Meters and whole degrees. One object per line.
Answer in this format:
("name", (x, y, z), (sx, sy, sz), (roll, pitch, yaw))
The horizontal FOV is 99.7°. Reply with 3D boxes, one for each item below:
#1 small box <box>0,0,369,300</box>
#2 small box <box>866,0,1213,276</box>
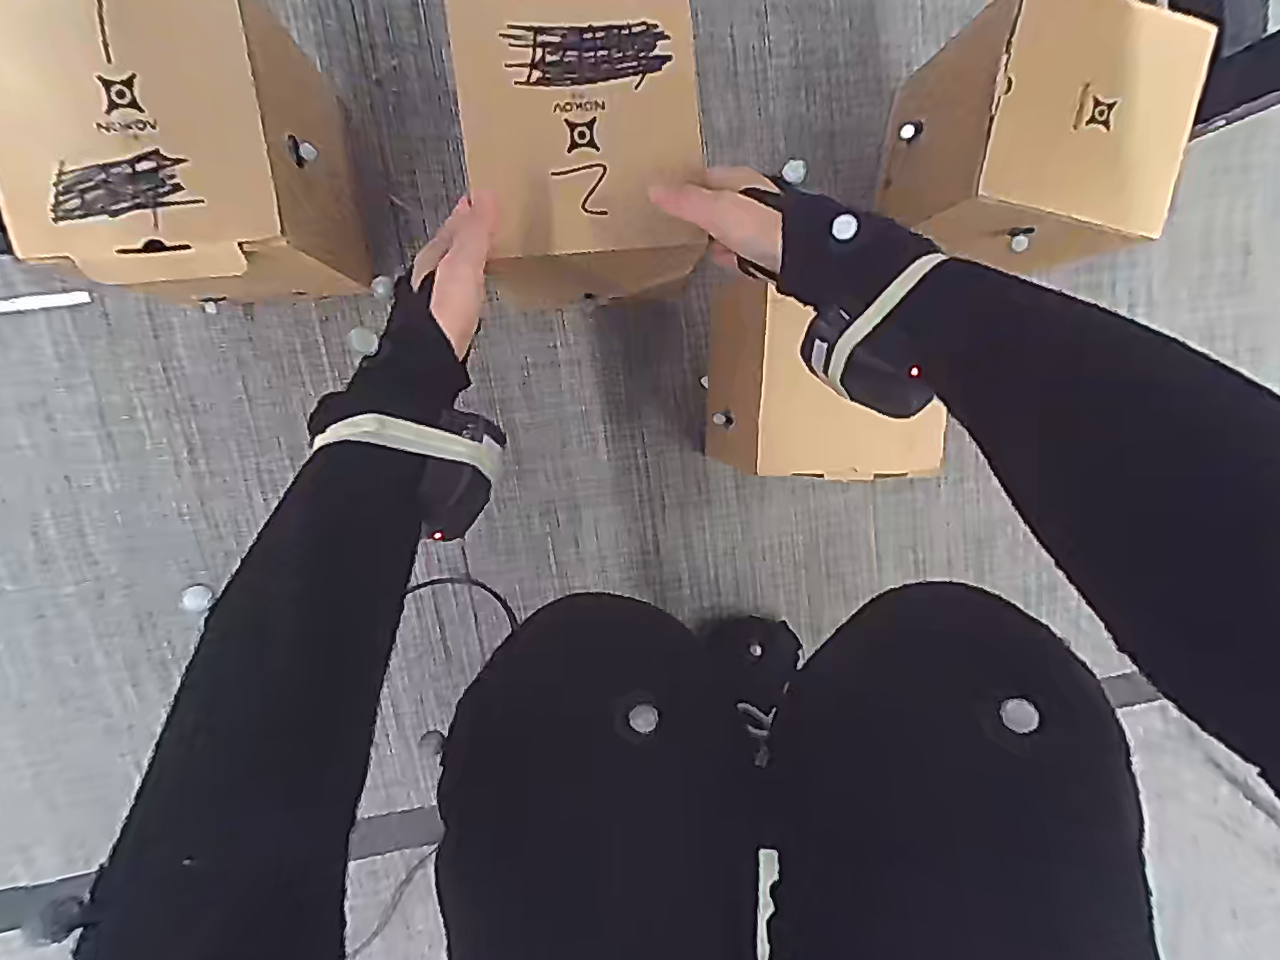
("small box", (-0.334, -0.245, 0.422), (0.168, 0.176, 0.179), (-8, 99, -7))
("small box", (0.349, -0.301, 0.507), (0.179, 0.176, 0.168), (8, 98, -8))
